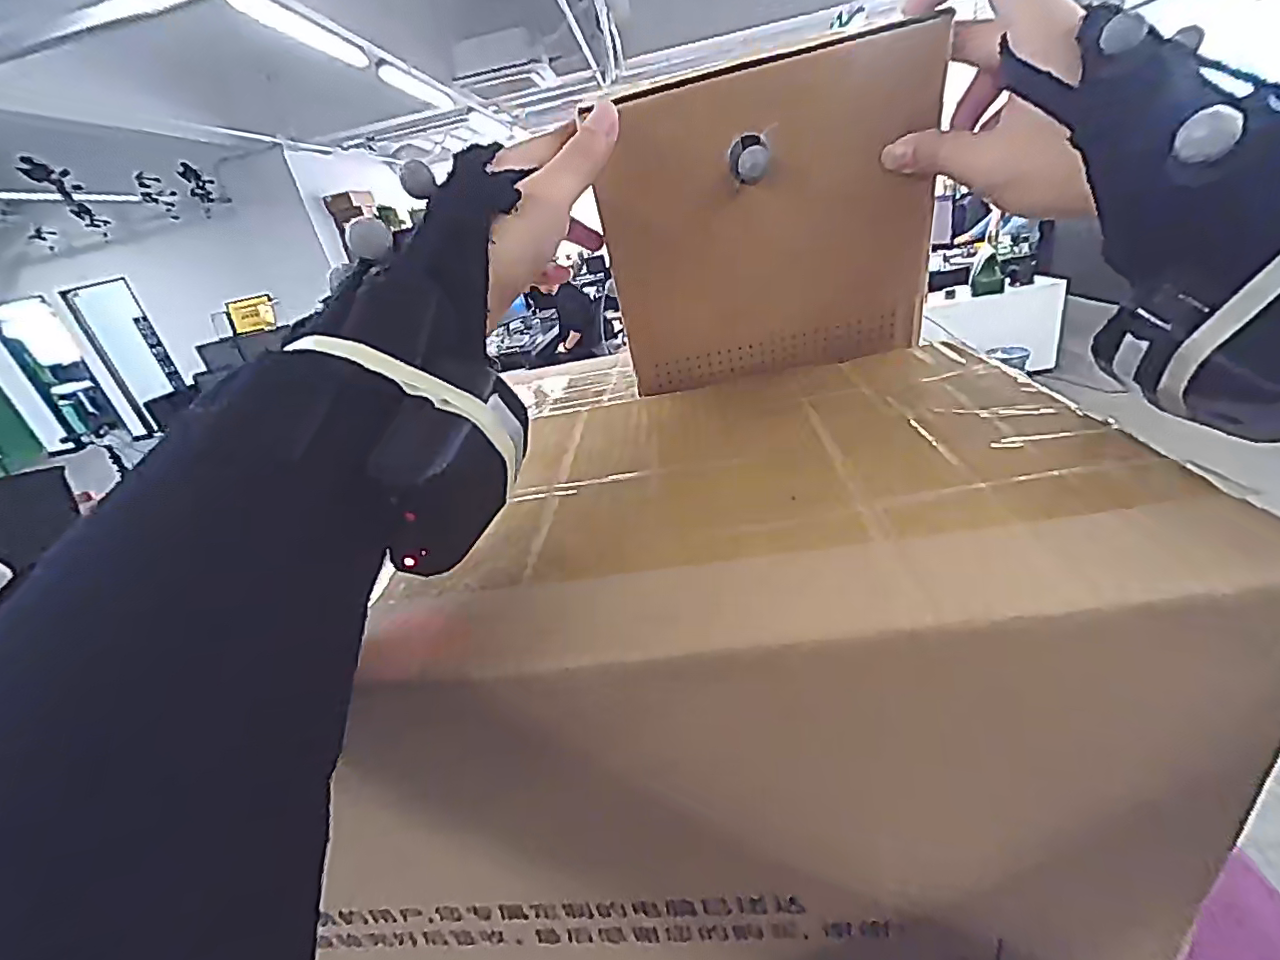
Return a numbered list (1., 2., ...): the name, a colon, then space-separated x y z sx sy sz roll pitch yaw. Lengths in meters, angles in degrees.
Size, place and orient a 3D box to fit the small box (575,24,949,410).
1. small box: 0.067 -0.167 0.357 0.179 0.176 0.168 -12 36 5
